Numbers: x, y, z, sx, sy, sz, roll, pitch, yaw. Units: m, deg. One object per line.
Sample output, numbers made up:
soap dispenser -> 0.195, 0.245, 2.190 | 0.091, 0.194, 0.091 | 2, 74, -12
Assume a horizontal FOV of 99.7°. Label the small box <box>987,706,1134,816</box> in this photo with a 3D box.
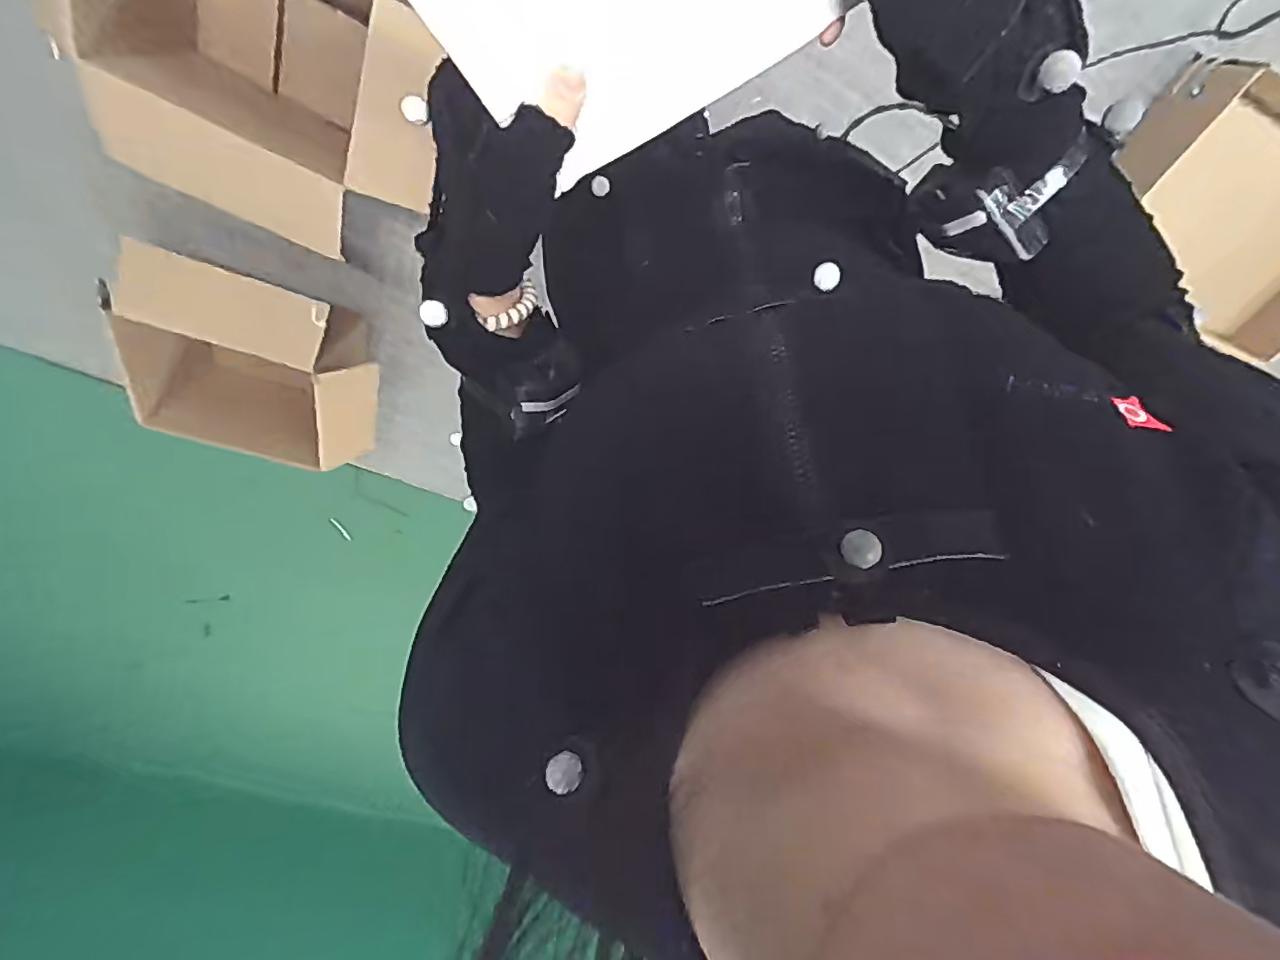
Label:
small box -> 0.963, 0.652, 1.258 | 0.168, 0.176, 0.179 | 18, 128, -15
